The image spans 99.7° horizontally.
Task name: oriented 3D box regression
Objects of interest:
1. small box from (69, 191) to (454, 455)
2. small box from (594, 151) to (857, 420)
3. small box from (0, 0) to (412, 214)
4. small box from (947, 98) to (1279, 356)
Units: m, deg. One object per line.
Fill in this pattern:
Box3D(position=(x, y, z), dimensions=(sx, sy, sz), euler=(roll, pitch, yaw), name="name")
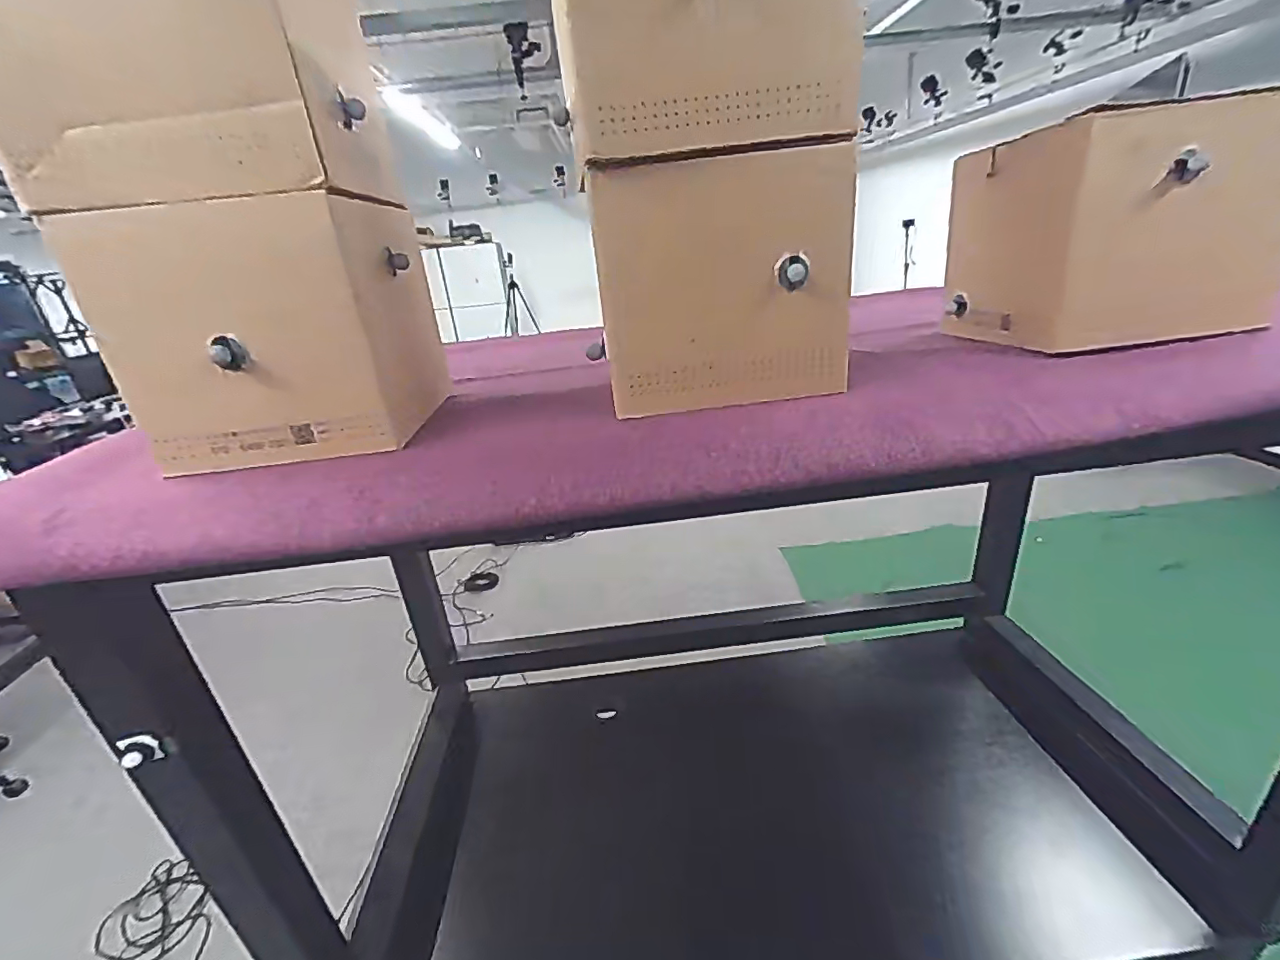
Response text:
Box3D(position=(-0.261, -0.122, 0.433), dimensions=(0.168, 0.176, 0.179), euler=(-6, 23, -3), name="small box")
Box3D(position=(0.058, -0.158, 0.452), dimensions=(0.179, 0.176, 0.168), euler=(-8, 22, -2), name="small box")
Box3D(position=(-0.280, -0.270, 0.368), dimensions=(0.179, 0.176, 0.168), euler=(-7, 24, -5), name="small box")
Box3D(position=(0.401, -0.210, 0.484), dimensions=(0.179, 0.176, 0.168), euler=(-6, 20, 0), name="small box")
